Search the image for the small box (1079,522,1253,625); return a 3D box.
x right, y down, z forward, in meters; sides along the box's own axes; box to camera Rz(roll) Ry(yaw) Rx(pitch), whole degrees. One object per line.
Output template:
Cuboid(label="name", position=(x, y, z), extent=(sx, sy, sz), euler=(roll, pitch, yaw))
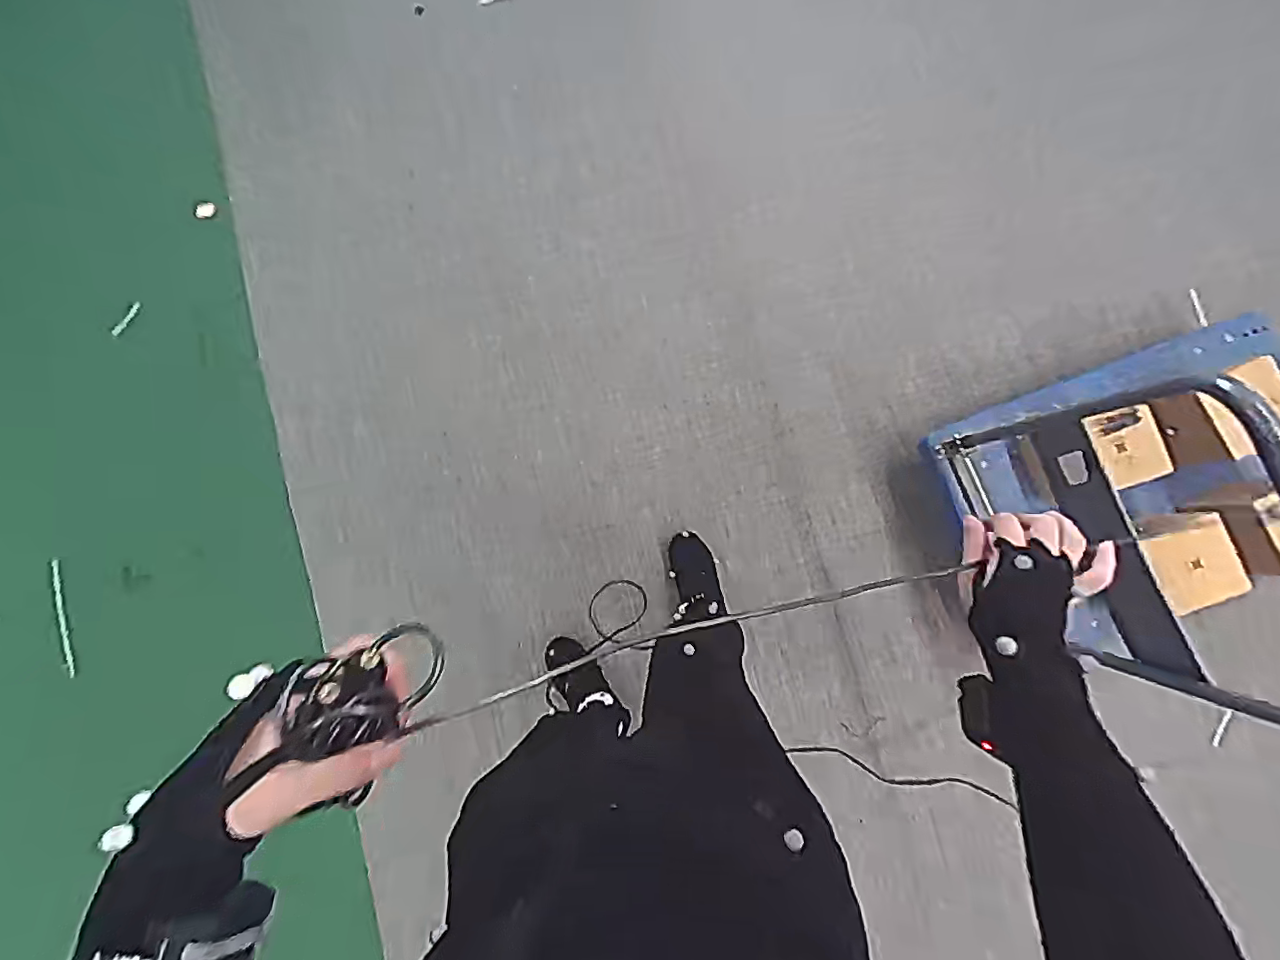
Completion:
Cuboid(label="small box", position=(1.101, 0.190, 1.146), extent=(0.179, 0.176, 0.168), euler=(-18, 84, 0))

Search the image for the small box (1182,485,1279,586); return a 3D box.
Cuboid(label="small box", position=(1.337, 0.112, 1.147), extent=(0.179, 0.176, 0.168), euler=(-22, 83, 0))
